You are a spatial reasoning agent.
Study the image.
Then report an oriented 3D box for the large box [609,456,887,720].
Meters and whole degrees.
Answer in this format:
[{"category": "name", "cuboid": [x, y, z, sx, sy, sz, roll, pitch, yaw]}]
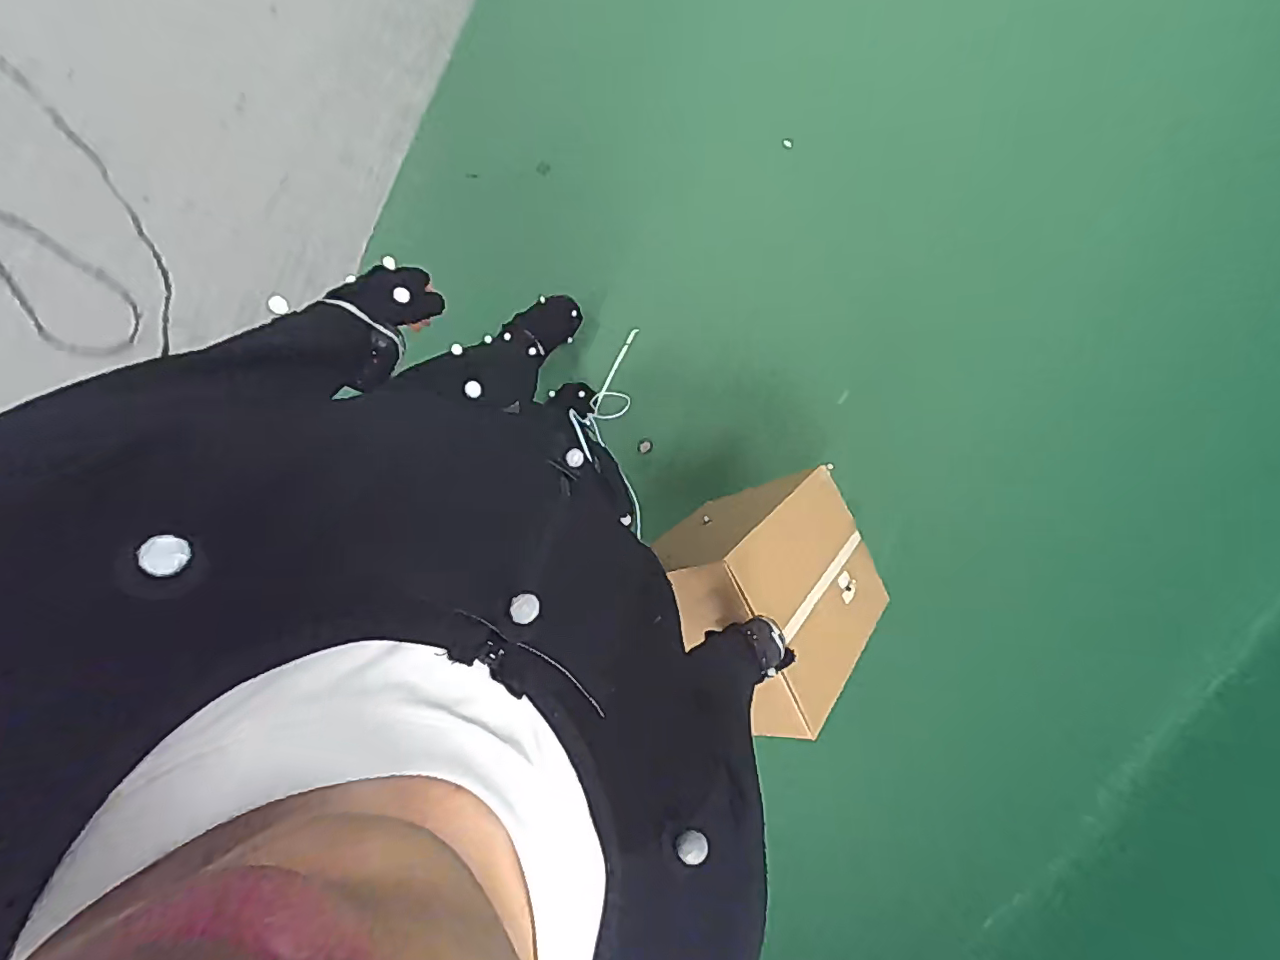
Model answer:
[{"category": "large box", "cuboid": [0.218, 0.204, 1.055, 0.320, 0.408, 0.320, -22, 97, 45]}]
